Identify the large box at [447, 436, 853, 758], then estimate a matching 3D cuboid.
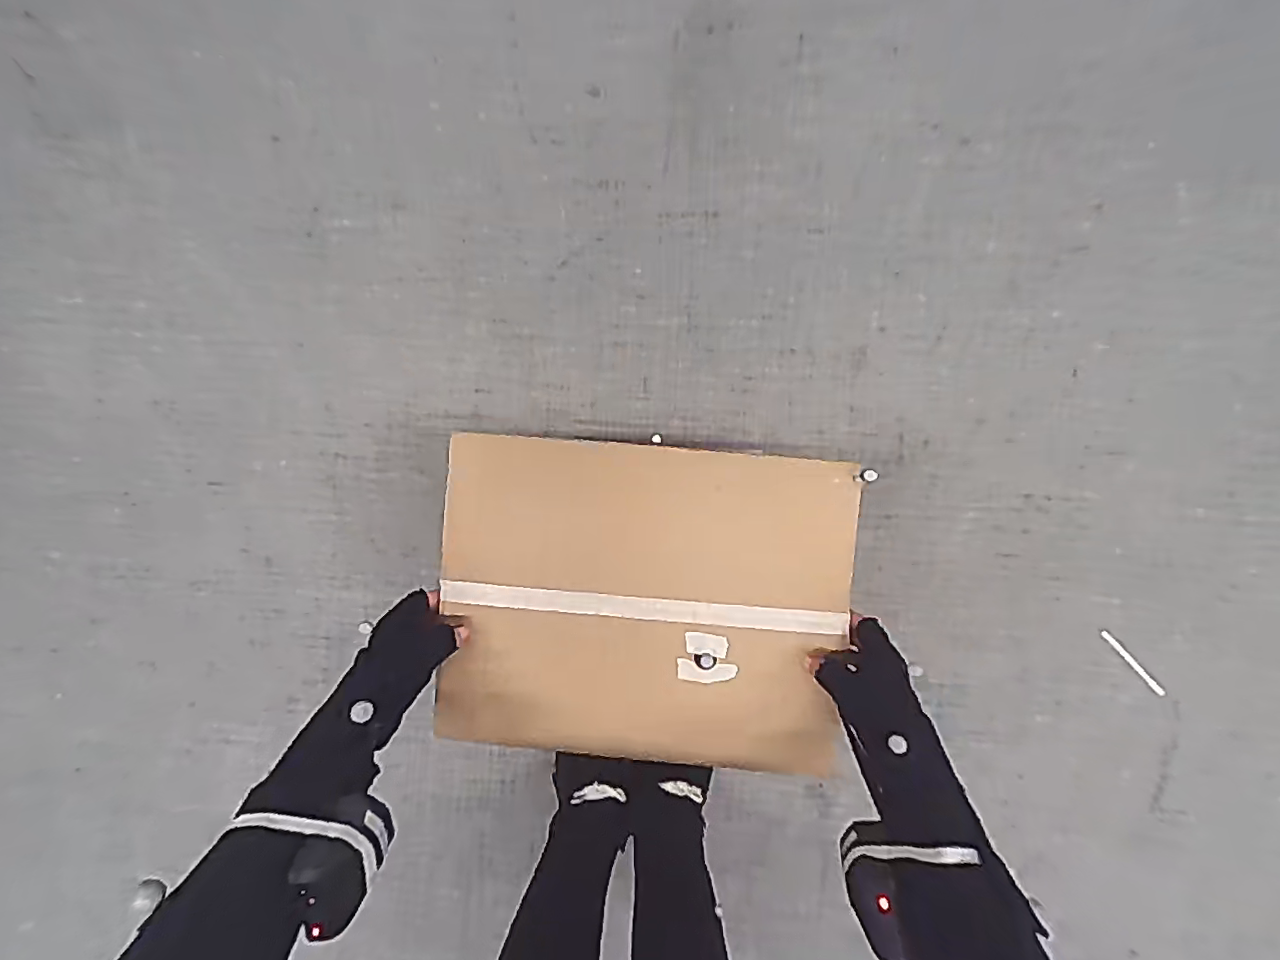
[{"bbox_3d":[0.008,0.113,0.694,0.408,0.320,0.320,4,94,2],"label":"large box"}]
